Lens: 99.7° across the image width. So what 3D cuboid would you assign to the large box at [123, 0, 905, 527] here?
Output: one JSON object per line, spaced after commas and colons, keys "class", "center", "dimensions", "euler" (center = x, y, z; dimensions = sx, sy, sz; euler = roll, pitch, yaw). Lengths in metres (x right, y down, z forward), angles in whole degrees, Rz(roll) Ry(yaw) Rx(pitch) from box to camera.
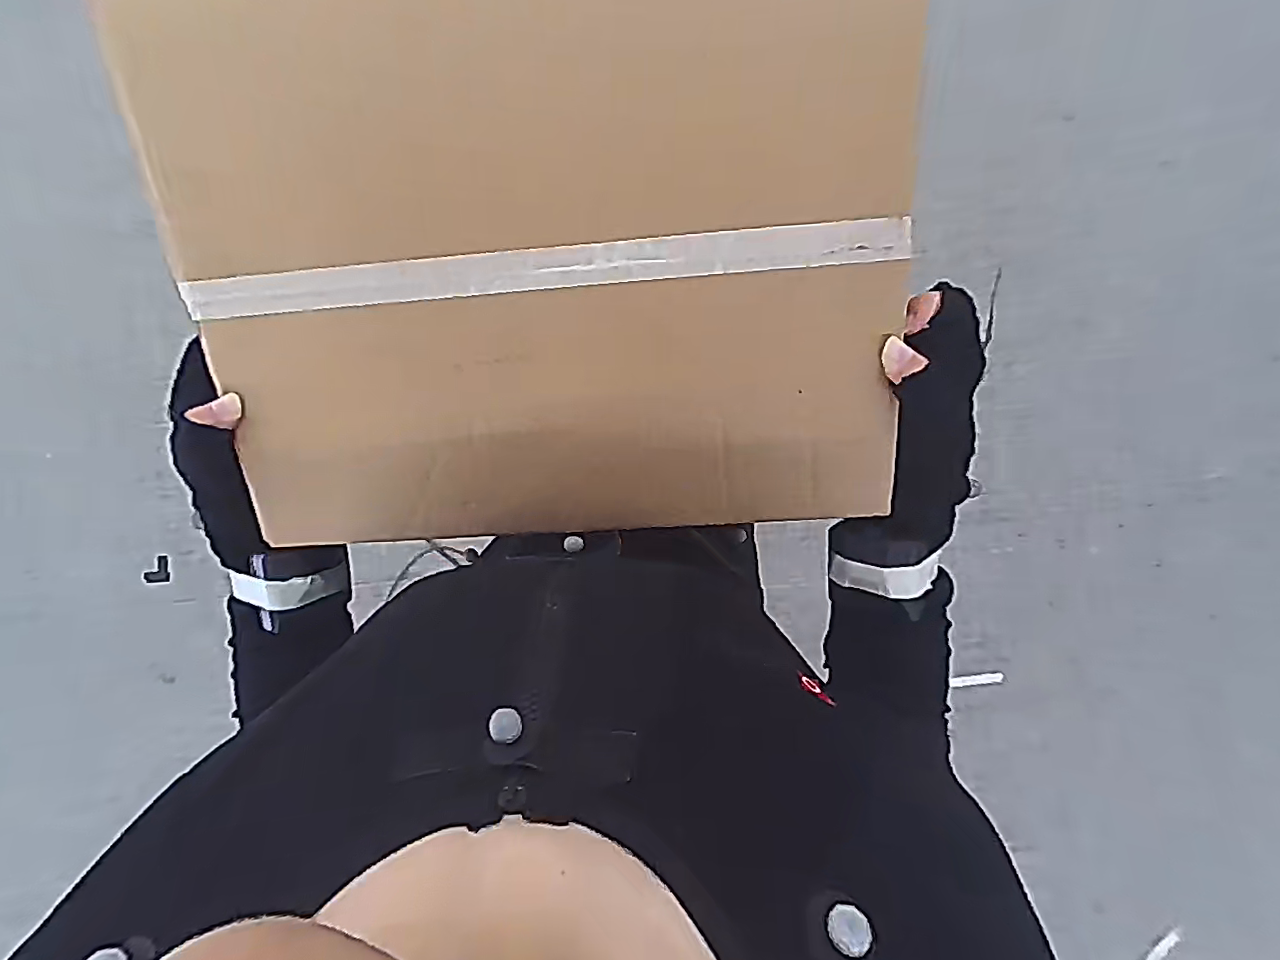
{"class": "large box", "center": [-0.053, -0.173, 0.450], "dimensions": [0.408, 0.320, 0.320], "euler": [-4, 109, 4]}
